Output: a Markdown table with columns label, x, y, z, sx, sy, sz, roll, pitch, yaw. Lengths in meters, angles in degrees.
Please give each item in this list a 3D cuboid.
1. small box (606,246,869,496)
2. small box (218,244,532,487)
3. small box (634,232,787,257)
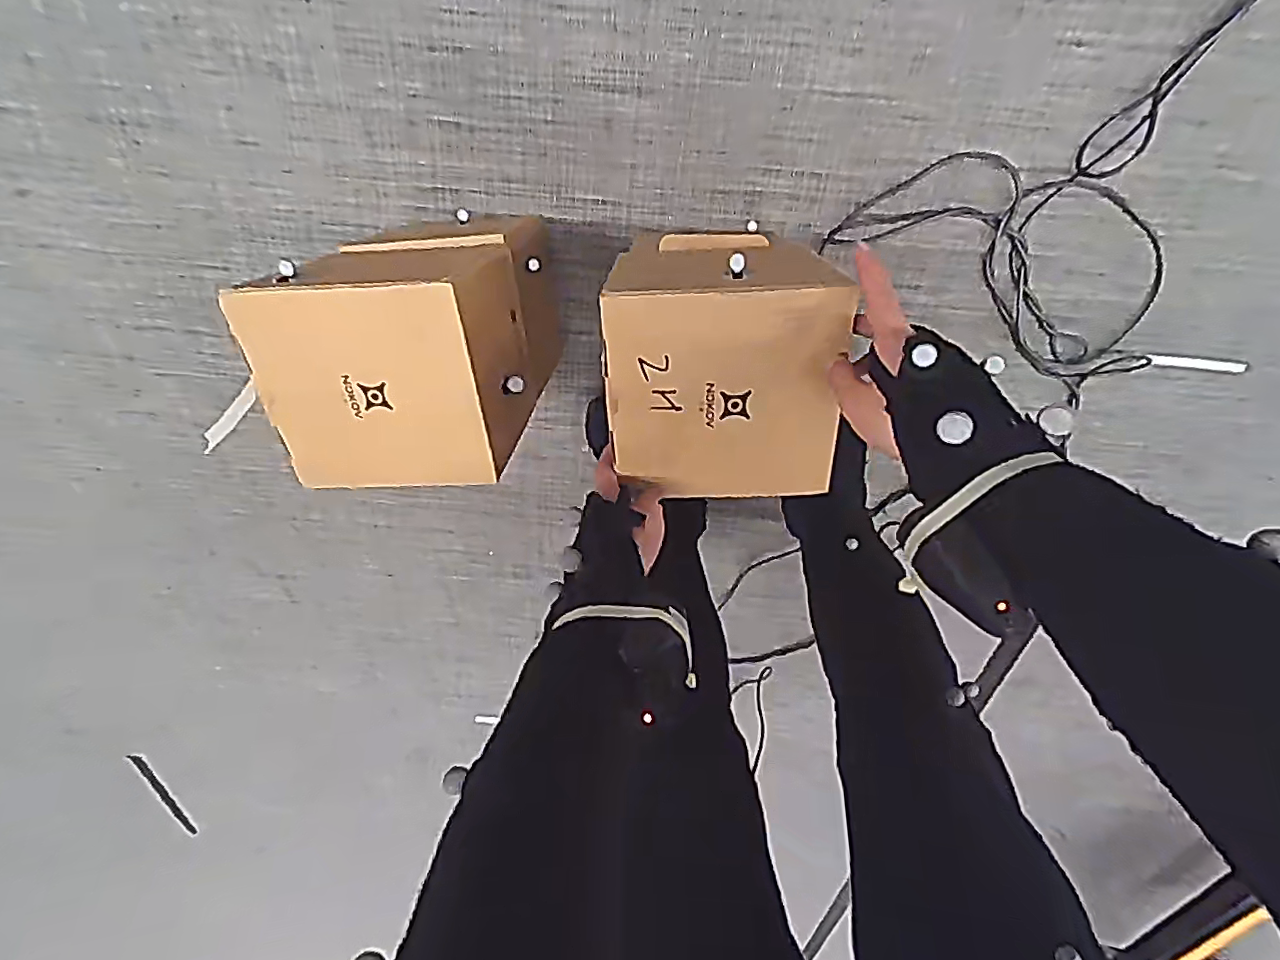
| label | x | y | z | sx | sy | sz | roll | pitch | yaw |
| --- | --- | --- | --- | --- | --- | --- | --- | --- | --- |
| small box | 0.069 | -0.100 | 0.463 | 0.179 | 0.176 | 0.168 | -1 | 120 | 4 |
| small box | -0.201 | -0.108 | 0.480 | 0.179 | 0.176 | 0.168 | -1 | 121 | 5 |
| small box | 0.077 | -0.177 | 0.610 | 0.168 | 0.176 | 0.179 | 2 | 122 | 3 |
